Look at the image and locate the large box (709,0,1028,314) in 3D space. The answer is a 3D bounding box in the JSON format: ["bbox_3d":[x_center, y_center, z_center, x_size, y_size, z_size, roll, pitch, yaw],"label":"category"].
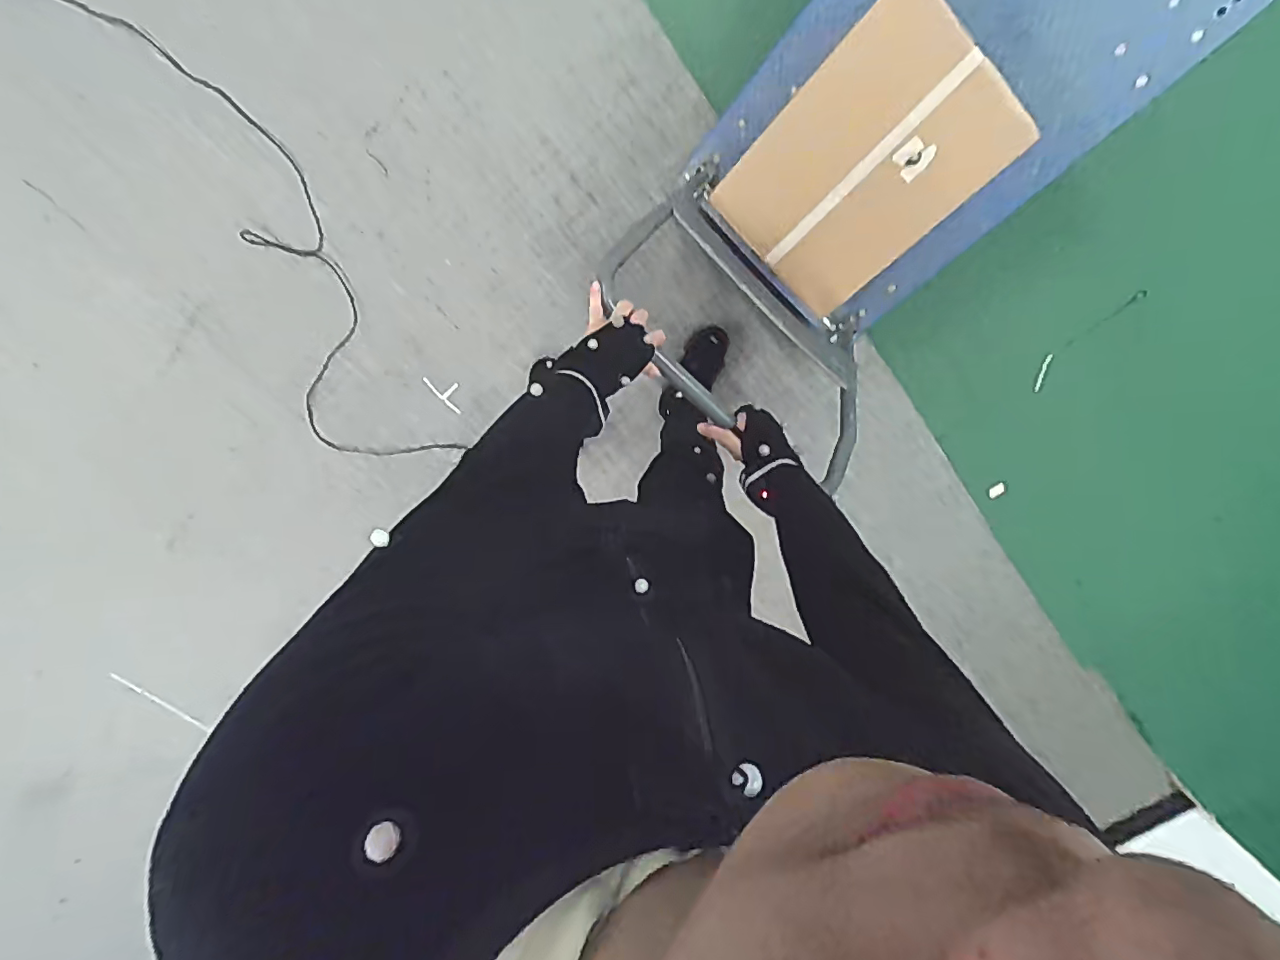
[{"bbox_3d":[0.391,-0.599,1.014,0.320,0.320,0.408,41,125,-13],"label":"large box"}]
